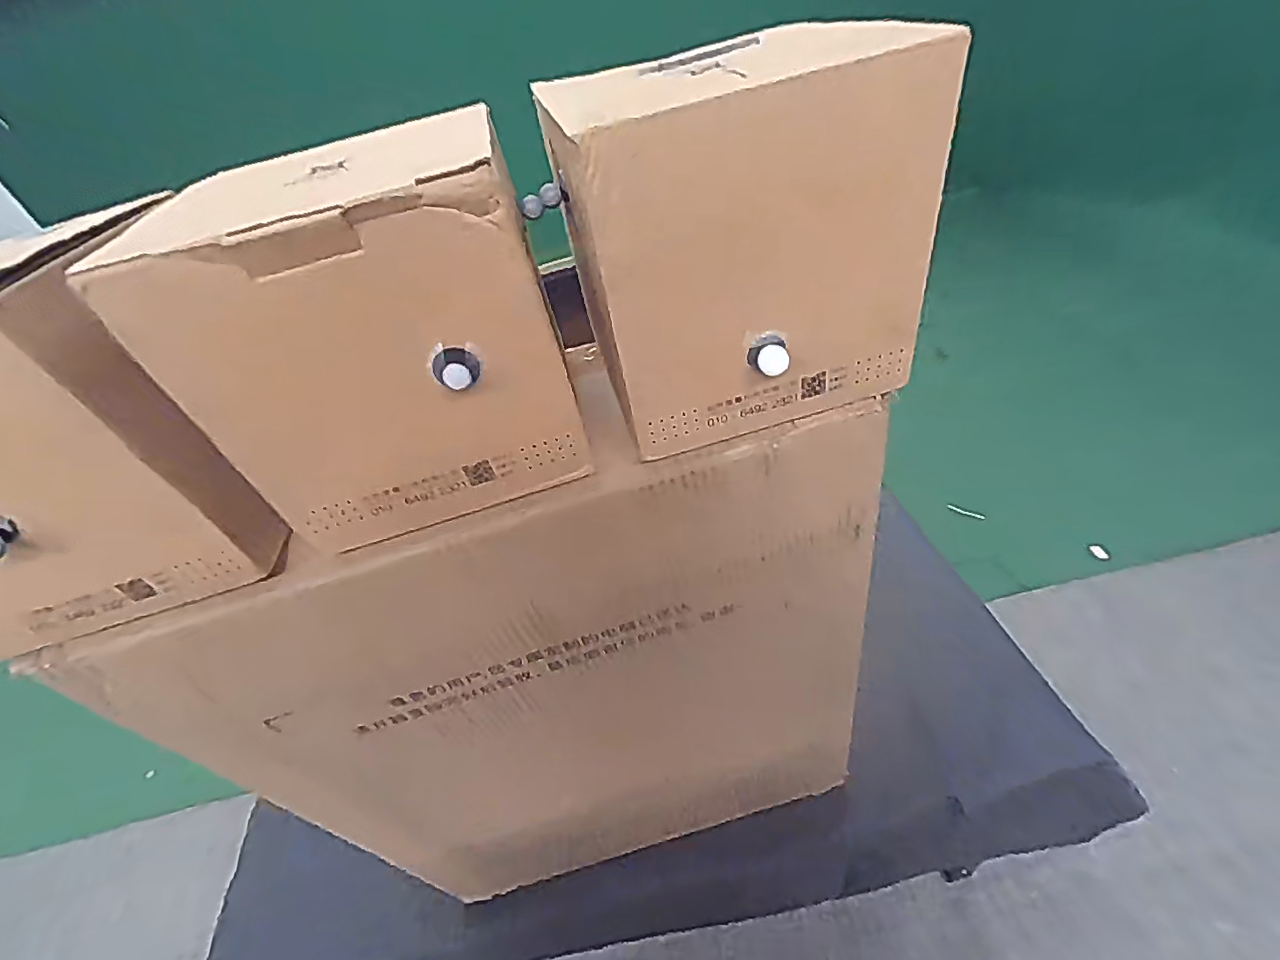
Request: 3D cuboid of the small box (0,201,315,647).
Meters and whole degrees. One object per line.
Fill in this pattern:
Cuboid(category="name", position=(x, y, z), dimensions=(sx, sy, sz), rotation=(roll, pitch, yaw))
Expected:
Cuboid(category="small box", position=(-0.326, -0.027, 0.310), dimensions=(0.168, 0.176, 0.179), rotation=(-18, 42, -1))

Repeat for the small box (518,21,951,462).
Cuboid(category="small box", position=(0.036, -0.139, 0.315), dimensions=(0.168, 0.176, 0.179), rotation=(-17, 43, -2))
